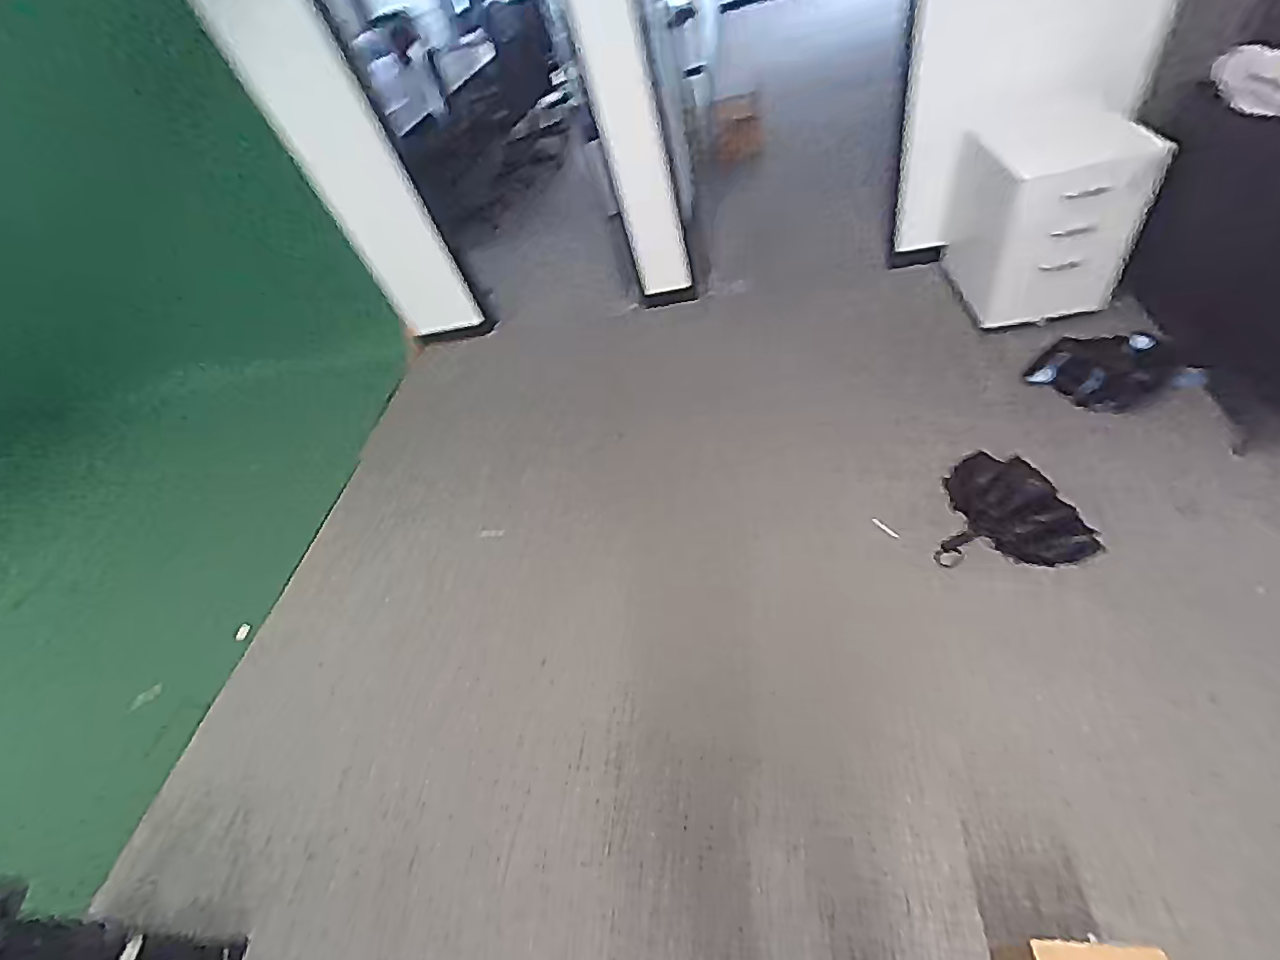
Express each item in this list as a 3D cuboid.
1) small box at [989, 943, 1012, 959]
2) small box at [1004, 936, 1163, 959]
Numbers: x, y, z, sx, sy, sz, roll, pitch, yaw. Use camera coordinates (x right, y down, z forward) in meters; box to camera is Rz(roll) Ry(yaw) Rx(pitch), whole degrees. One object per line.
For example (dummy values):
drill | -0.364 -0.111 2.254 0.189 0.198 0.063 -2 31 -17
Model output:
small box | 0.740 0.918 0.934 0.179 0.176 0.168 -8 46 14
small box | 0.693 0.809 0.819 0.179 0.176 0.168 -7 46 14
